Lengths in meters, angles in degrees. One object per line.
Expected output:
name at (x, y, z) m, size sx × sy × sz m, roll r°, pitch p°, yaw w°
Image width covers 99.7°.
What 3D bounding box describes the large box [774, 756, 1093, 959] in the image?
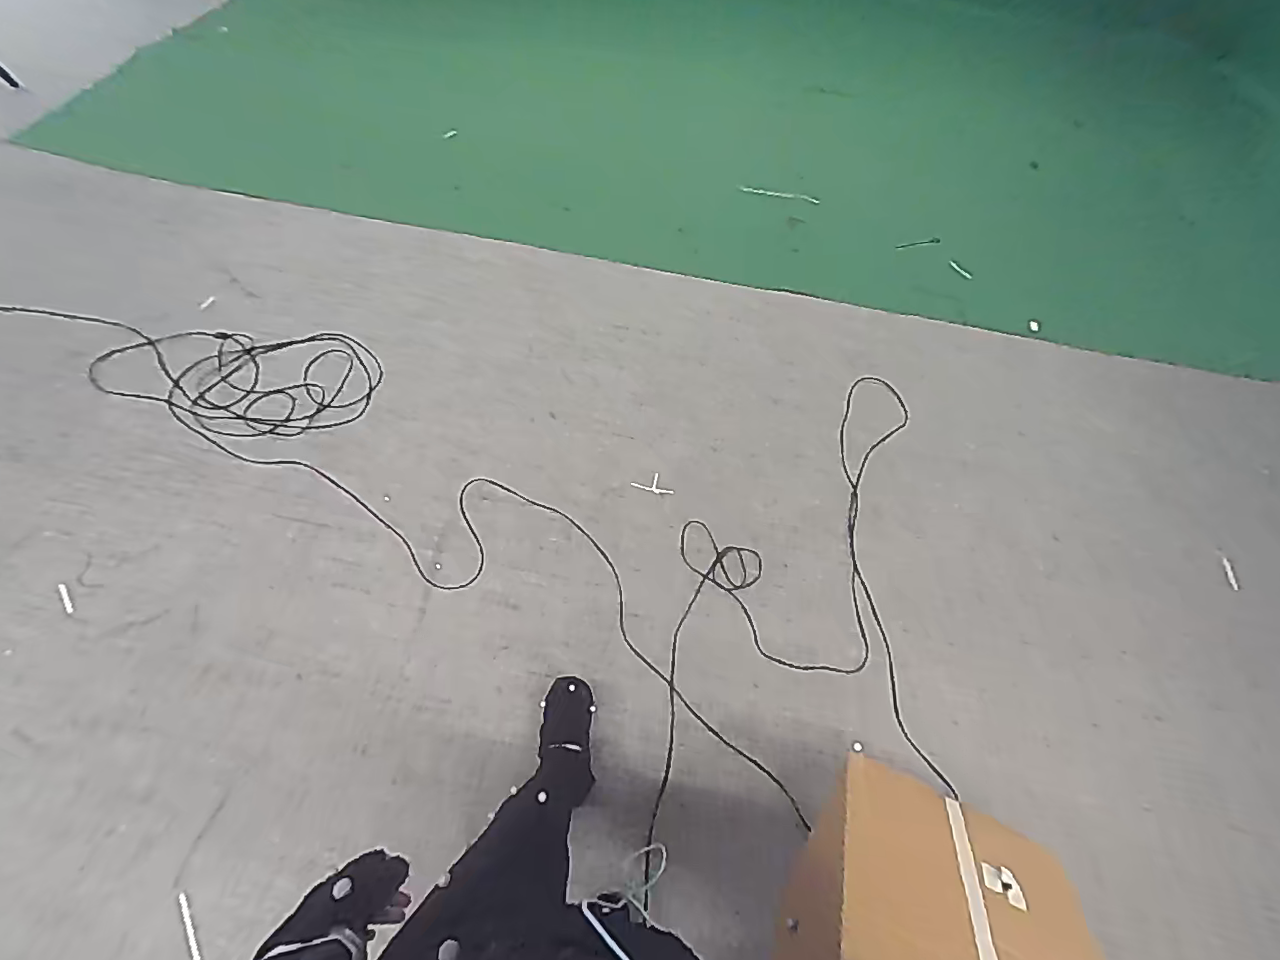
large box at (0.360, 0.673, 0.704) m, size 0.320 × 0.408 × 0.320 m, roll 23°, pitch 105°, yaw 18°
